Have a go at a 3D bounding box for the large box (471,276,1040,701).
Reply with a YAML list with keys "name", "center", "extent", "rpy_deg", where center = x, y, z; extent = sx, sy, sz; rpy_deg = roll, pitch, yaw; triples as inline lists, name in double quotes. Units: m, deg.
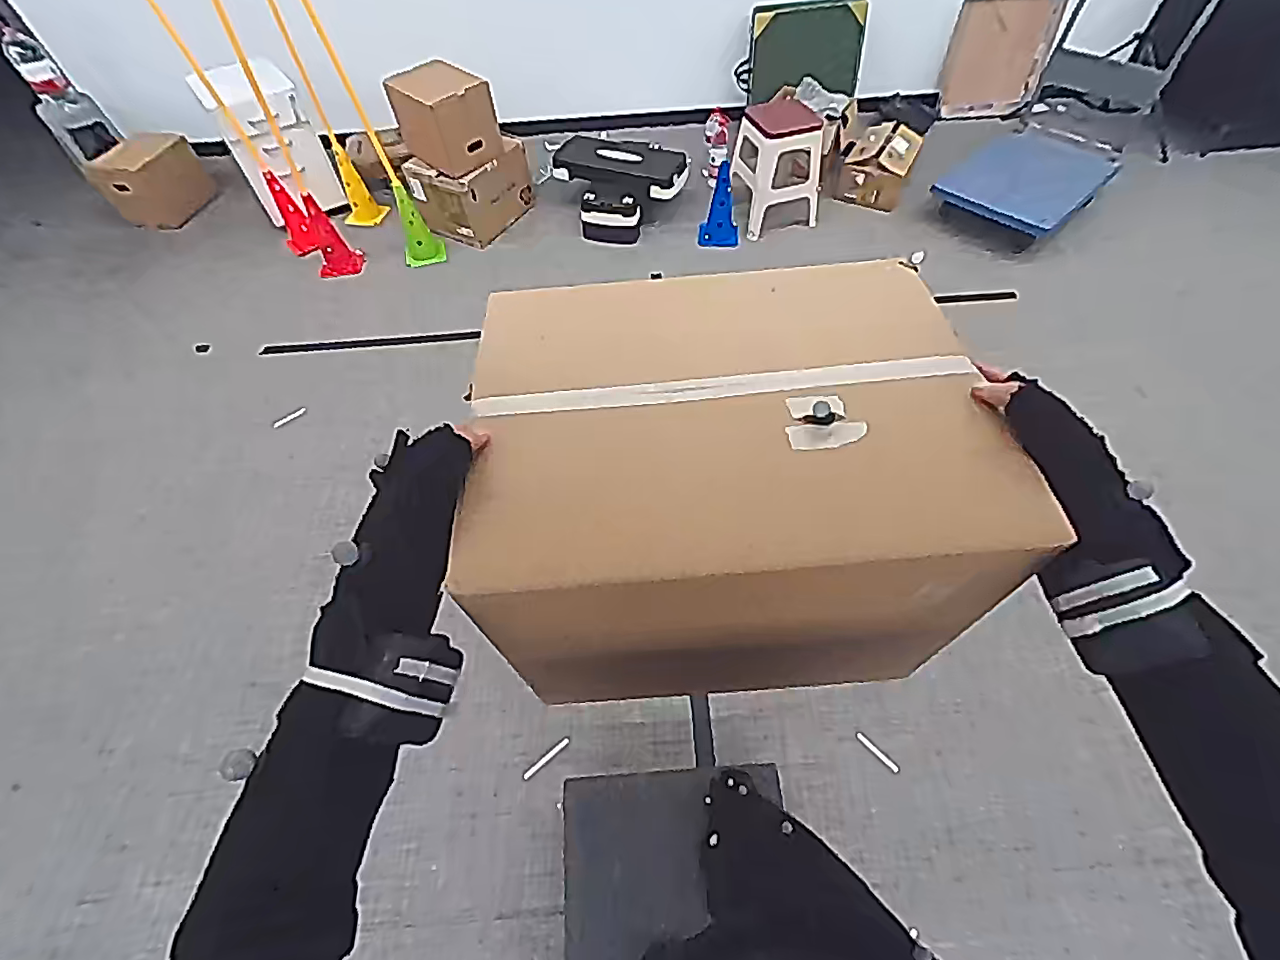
- name: "large box"
  center: [0.074, 0.022, 0.574]
  extent: [0.408, 0.320, 0.320]
  rpy_deg: [-5, 55, 0]
